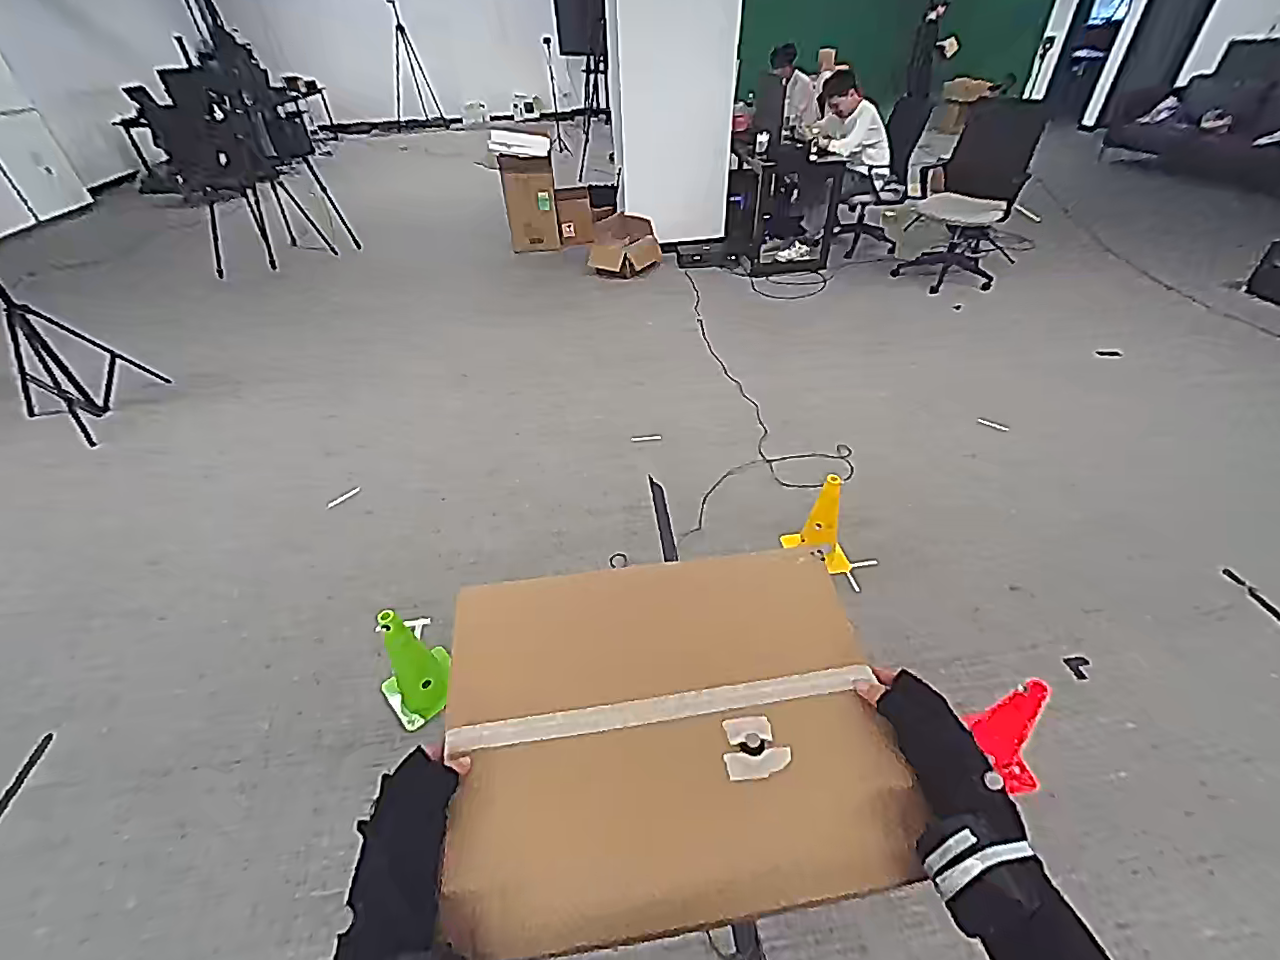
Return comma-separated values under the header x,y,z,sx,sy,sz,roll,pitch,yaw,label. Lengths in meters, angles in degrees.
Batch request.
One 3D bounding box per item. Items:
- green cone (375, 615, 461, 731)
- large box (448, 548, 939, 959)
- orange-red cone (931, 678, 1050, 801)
x,y,z,sx,sy,sz,roll,pitch,yaw,label
-0.642,0.489,1.497,0.202,0.368,0.200,-35,49,-30,green cone
0.025,0.314,0.625,0.408,0.320,0.320,-6,50,-7,large box
0.879,0.581,1.290,0.198,0.360,0.199,-7,39,-6,orange-red cone
